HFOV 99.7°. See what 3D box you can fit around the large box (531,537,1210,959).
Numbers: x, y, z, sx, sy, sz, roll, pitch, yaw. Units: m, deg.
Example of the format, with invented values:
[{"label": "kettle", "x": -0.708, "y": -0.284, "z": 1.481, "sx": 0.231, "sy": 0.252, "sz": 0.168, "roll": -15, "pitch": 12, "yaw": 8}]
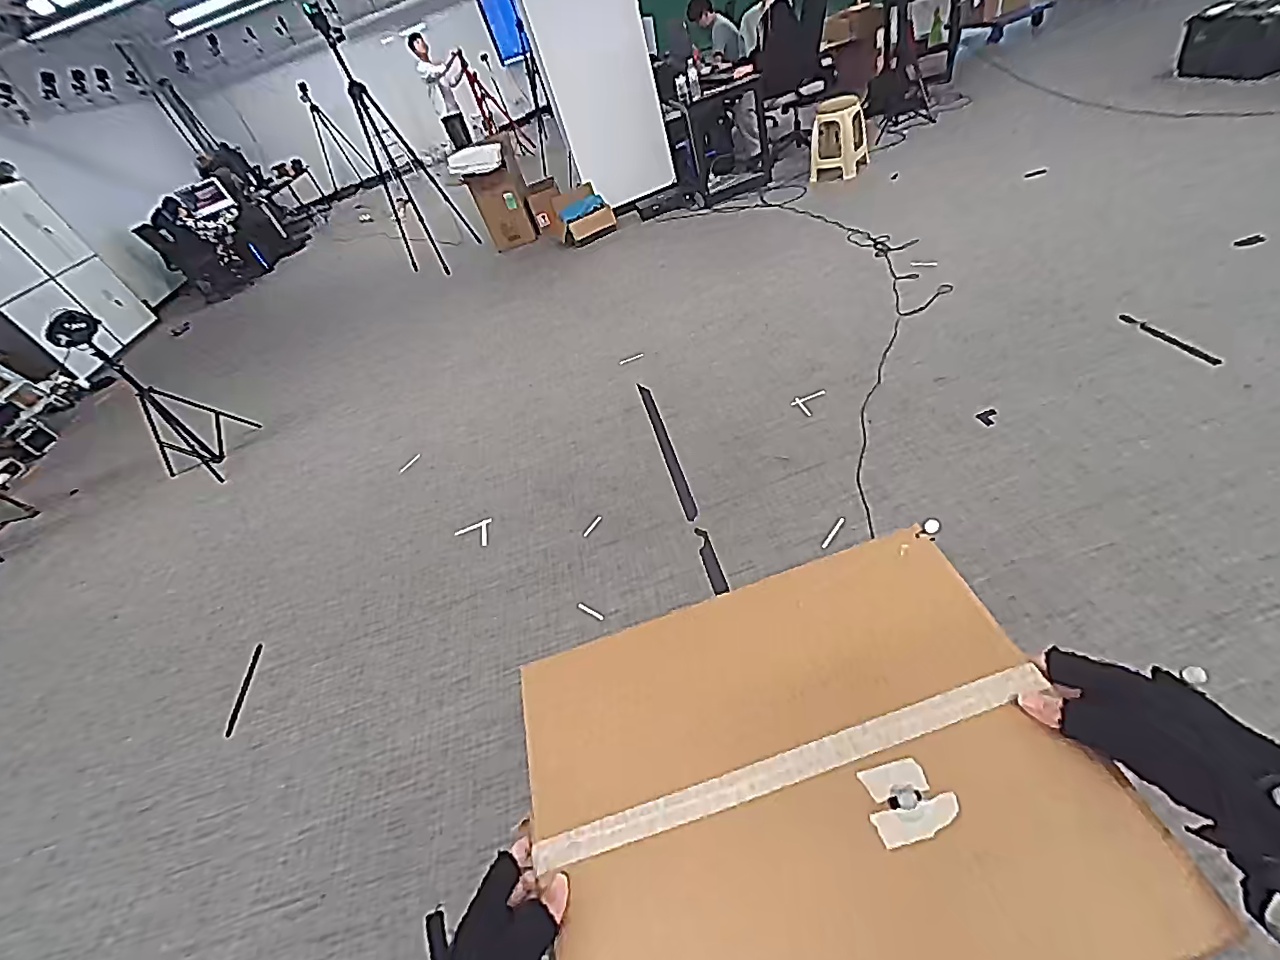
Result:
[{"label": "large box", "x": 0.152, "y": 0.324, "z": 0.527, "sx": 0.408, "sy": 0.320, "sz": 0.320, "roll": -20, "pitch": 47, "yaw": 0}]
